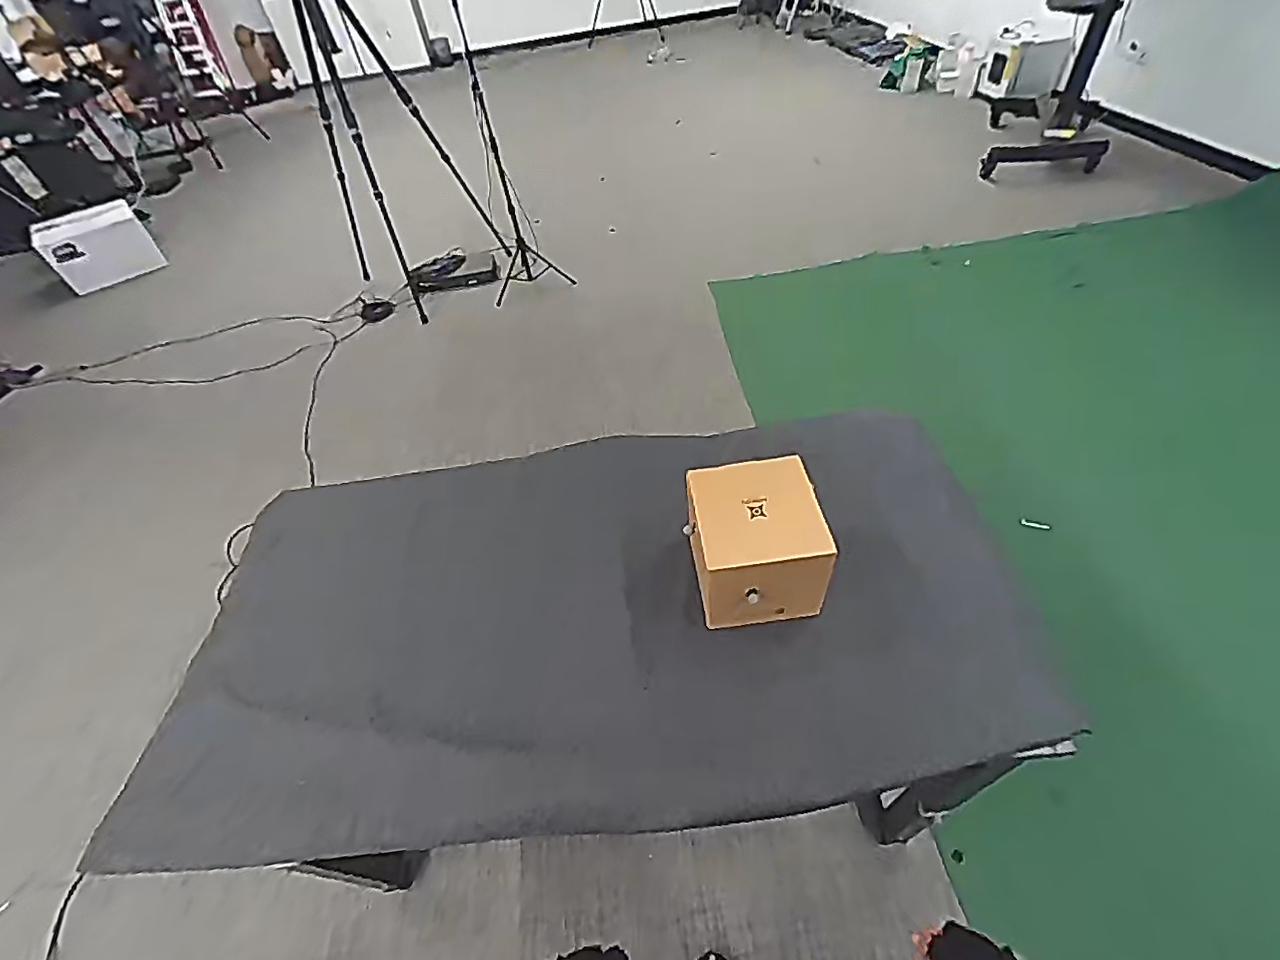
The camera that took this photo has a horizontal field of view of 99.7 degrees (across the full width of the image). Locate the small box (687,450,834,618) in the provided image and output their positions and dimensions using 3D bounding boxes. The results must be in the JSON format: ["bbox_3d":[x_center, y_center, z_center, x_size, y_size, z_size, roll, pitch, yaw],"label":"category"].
[{"bbox_3d":[0.165,0.085,0.784,0.168,0.176,0.179,-8,48,2],"label":"small box"}]
